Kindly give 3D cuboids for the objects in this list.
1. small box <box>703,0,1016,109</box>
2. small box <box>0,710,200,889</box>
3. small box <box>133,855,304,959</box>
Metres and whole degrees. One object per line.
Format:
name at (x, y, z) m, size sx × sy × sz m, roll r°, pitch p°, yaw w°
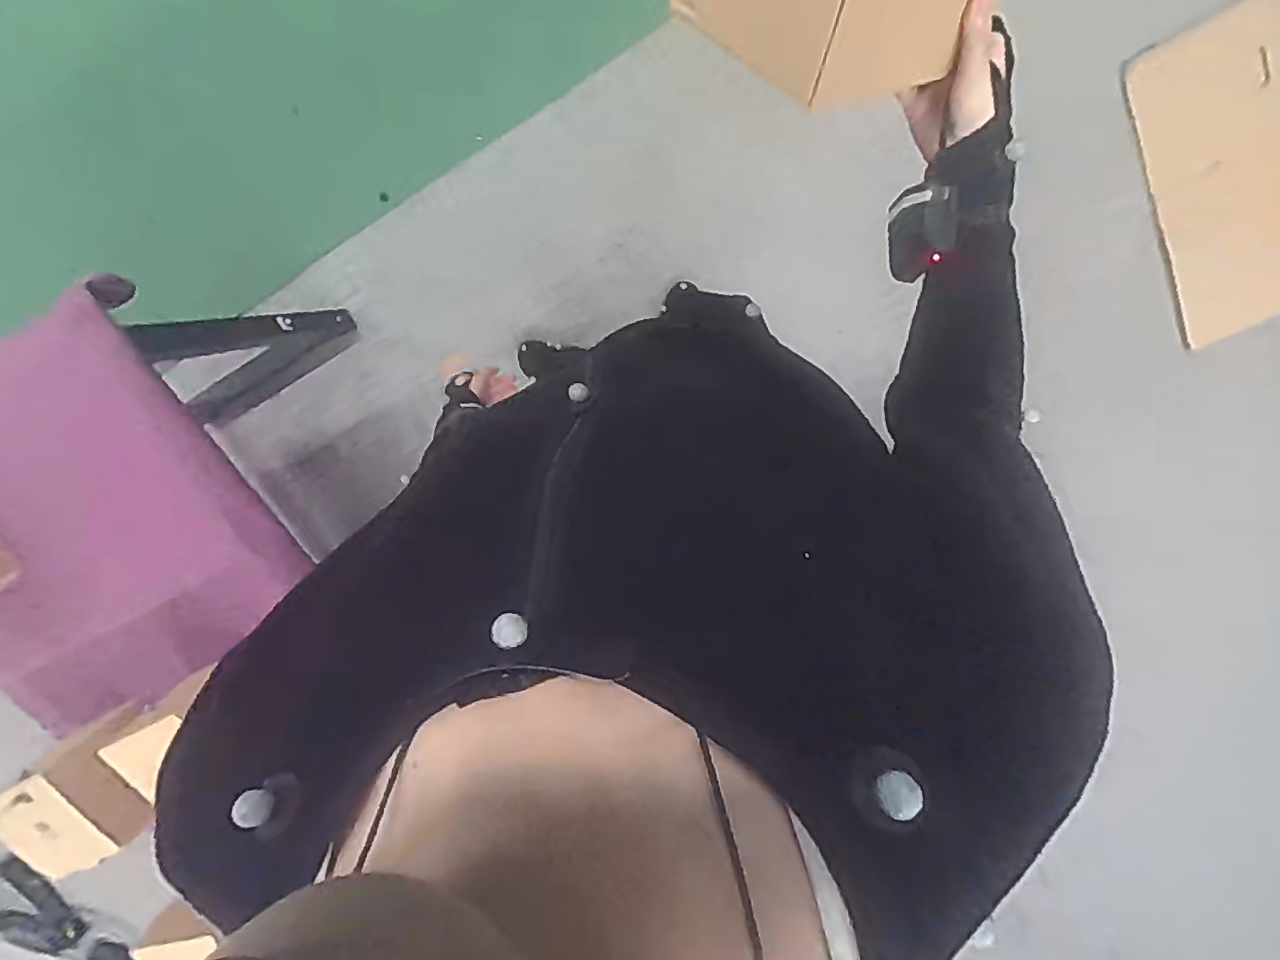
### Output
small box at (0.152, -0.382, 0.346) m, size 0.168 × 0.179 × 0.176 m, roll -27°, pitch 65°, yaw -21°
small box at (-0.916, 0.533, 0.916) m, size 0.168 × 0.176 × 0.179 m, roll -28°, pitch 107°, yaw 9°
small box at (-0.769, 0.856, 1.019) m, size 0.168 × 0.176 × 0.179 m, roll -15°, pitch 106°, yaw 6°
